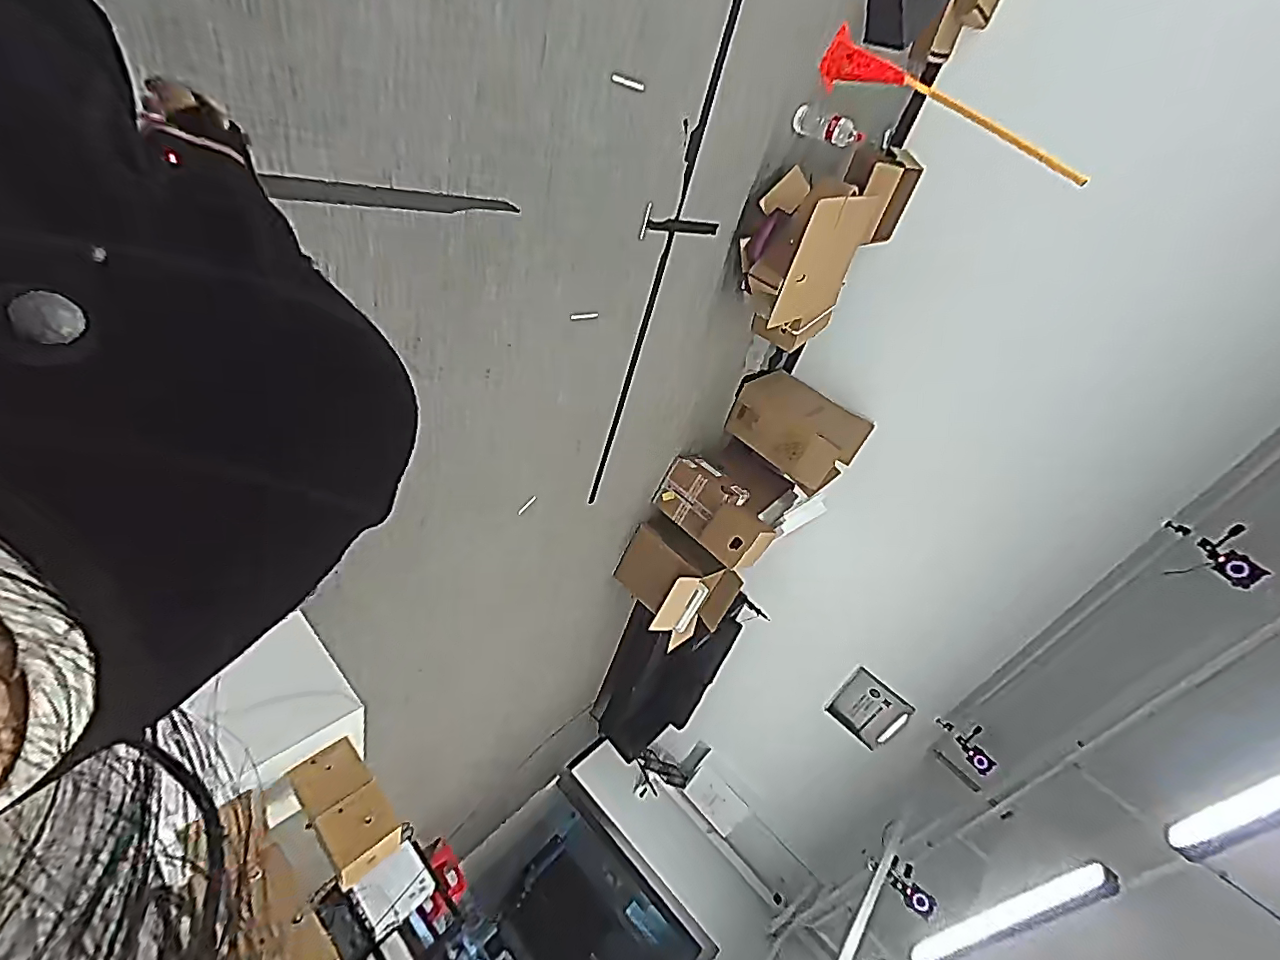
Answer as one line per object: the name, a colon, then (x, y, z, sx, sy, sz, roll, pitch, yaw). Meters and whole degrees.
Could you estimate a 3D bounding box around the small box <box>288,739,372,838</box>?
small box: (-0.920, 0.914, 1.611, 0.168, 0.176, 0.179, -25, 145, -44)

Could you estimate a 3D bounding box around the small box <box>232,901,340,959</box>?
small box: (-0.844, 1.159, 1.287, 0.168, 0.176, 0.179, -23, 145, -49)

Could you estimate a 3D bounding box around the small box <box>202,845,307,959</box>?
small box: (-0.962, 1.067, 1.356, 0.168, 0.176, 0.179, -24, 144, -48)

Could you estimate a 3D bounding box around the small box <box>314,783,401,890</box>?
small box: (-0.806, 1.005, 1.541, 0.168, 0.176, 0.179, -24, 145, -44)

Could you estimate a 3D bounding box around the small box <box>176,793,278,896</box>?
small box: (-1.077, 0.967, 1.417, 0.168, 0.176, 0.179, -24, 143, -48)
